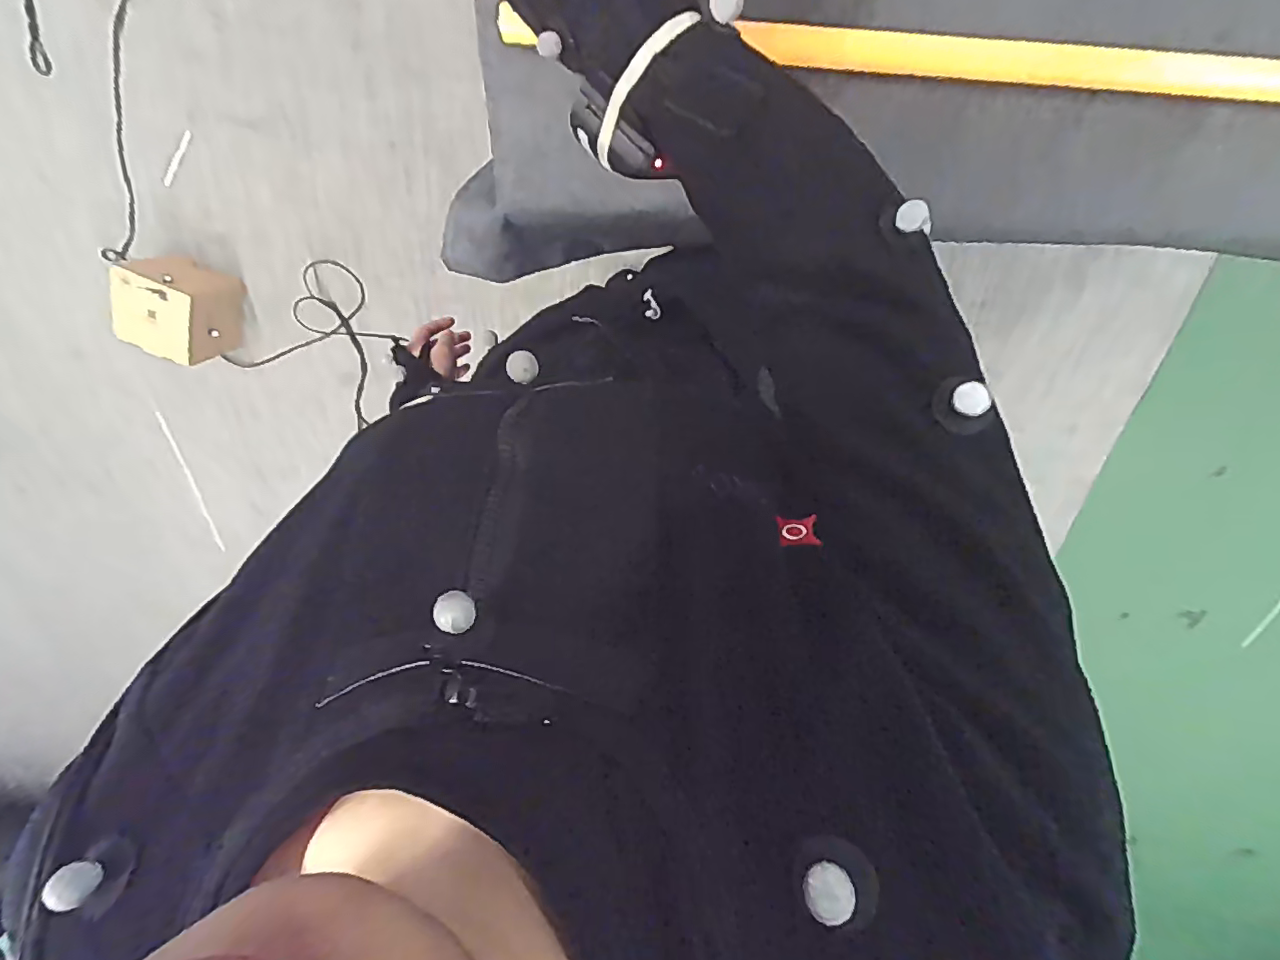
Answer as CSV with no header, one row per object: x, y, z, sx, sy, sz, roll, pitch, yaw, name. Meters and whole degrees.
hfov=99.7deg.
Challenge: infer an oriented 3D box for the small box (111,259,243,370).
-1.063,-0.388,1.254,0.168,0.176,0.179,23,118,-8,small box
